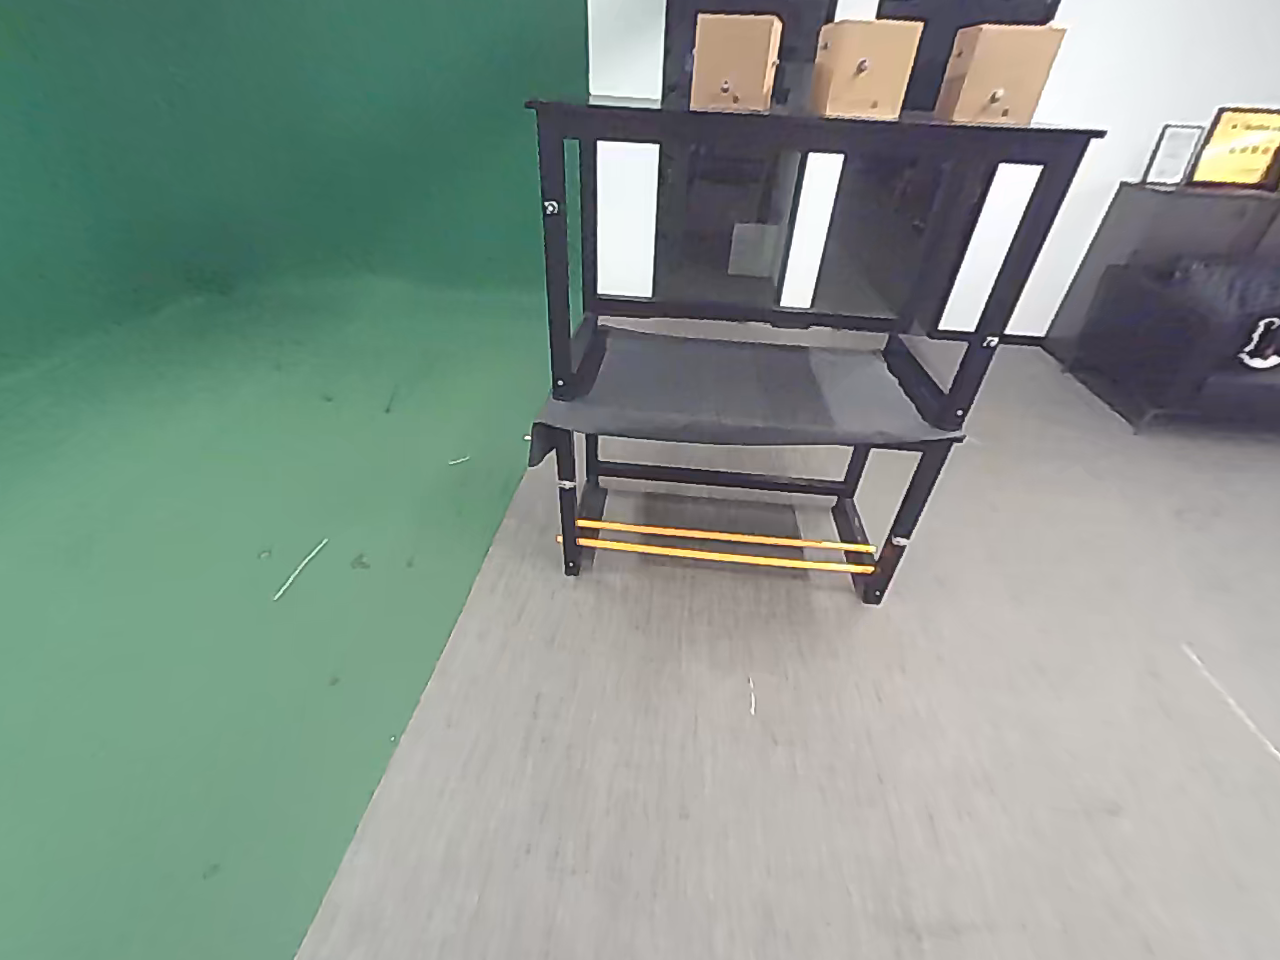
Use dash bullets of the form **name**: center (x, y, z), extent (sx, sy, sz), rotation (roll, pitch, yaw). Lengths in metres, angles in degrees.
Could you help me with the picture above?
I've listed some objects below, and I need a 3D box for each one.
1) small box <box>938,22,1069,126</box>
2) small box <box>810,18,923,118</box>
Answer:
- **small box**: center (0.789, -0.897, 1.200), extent (0.168, 0.176, 0.179), rotation (8, 38, 8)
- **small box**: center (0.497, -0.916, 1.212), extent (0.168, 0.176, 0.179), rotation (2, 36, -1)
